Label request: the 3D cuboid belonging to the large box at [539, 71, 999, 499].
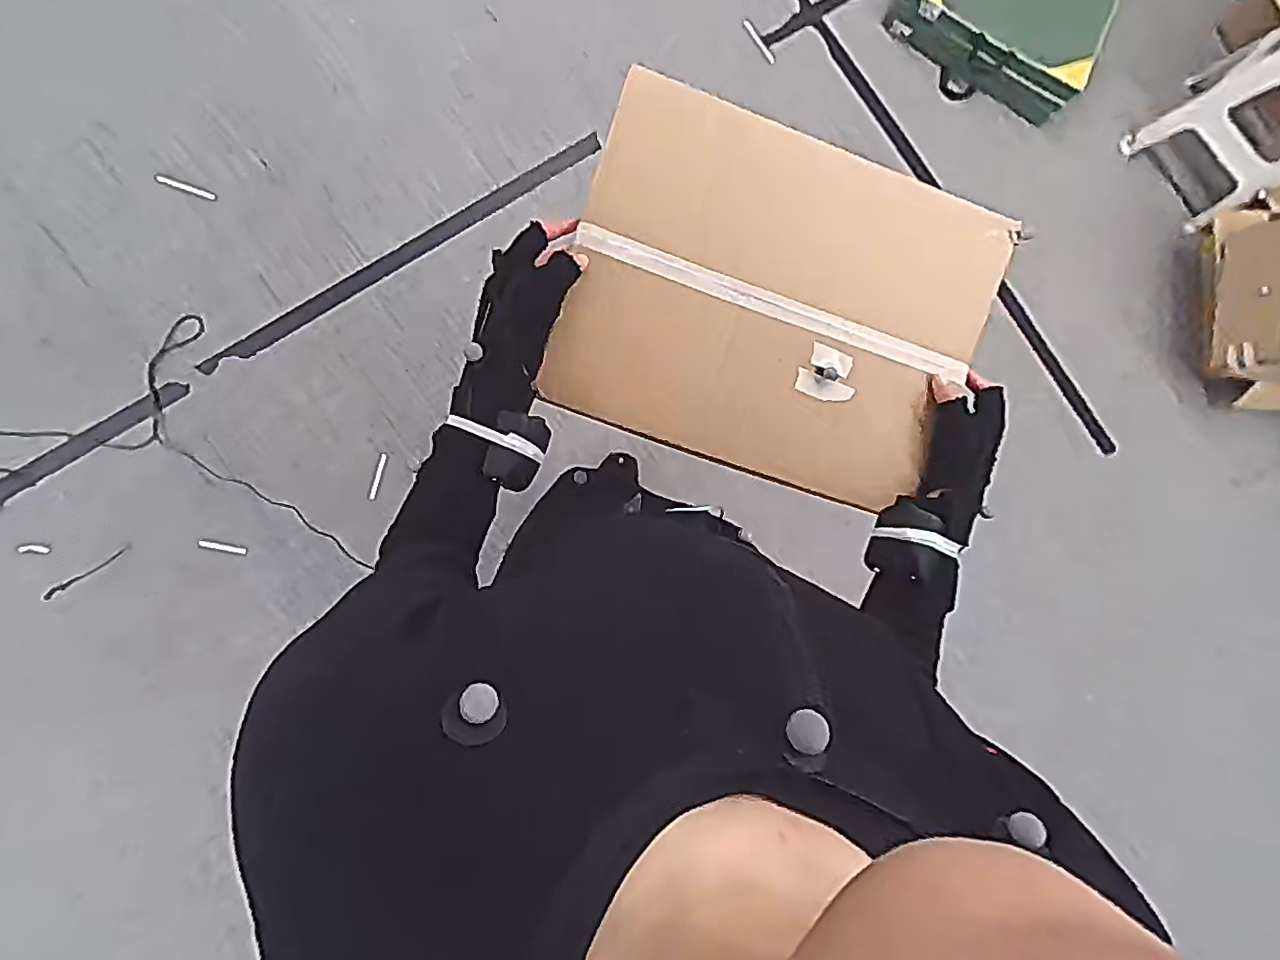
[{"bbox_3d":[0.118,-0.198,0.684,0.408,0.320,0.320,18,96,-7],"label":"large box"}]
